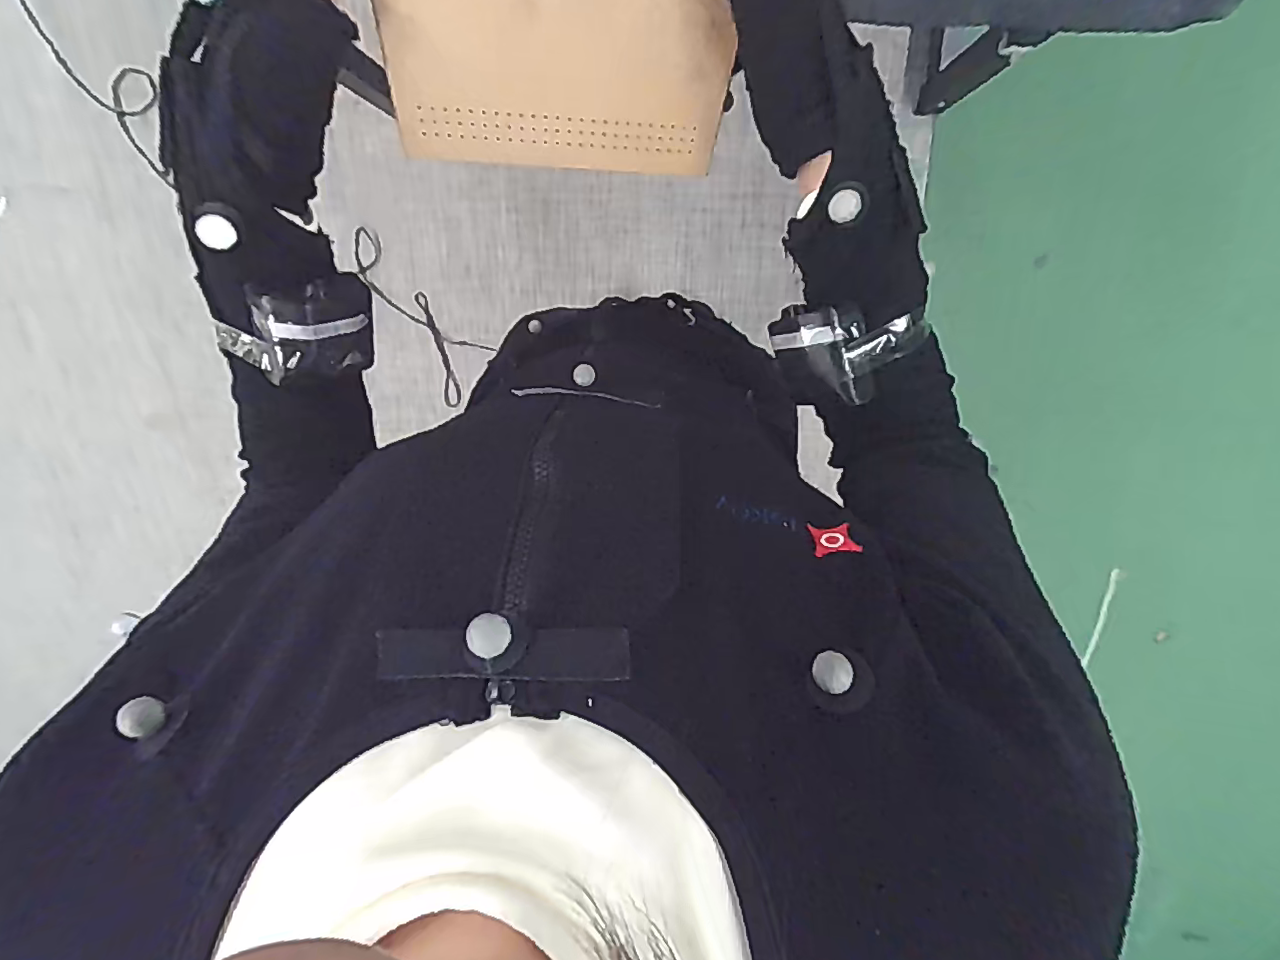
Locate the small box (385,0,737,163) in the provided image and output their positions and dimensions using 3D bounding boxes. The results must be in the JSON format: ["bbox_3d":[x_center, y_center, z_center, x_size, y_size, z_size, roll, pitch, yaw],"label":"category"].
[{"bbox_3d":[-0.043,-0.303,0.296,0.179,0.168,0.176,-3,148,-12],"label":"small box"}]
